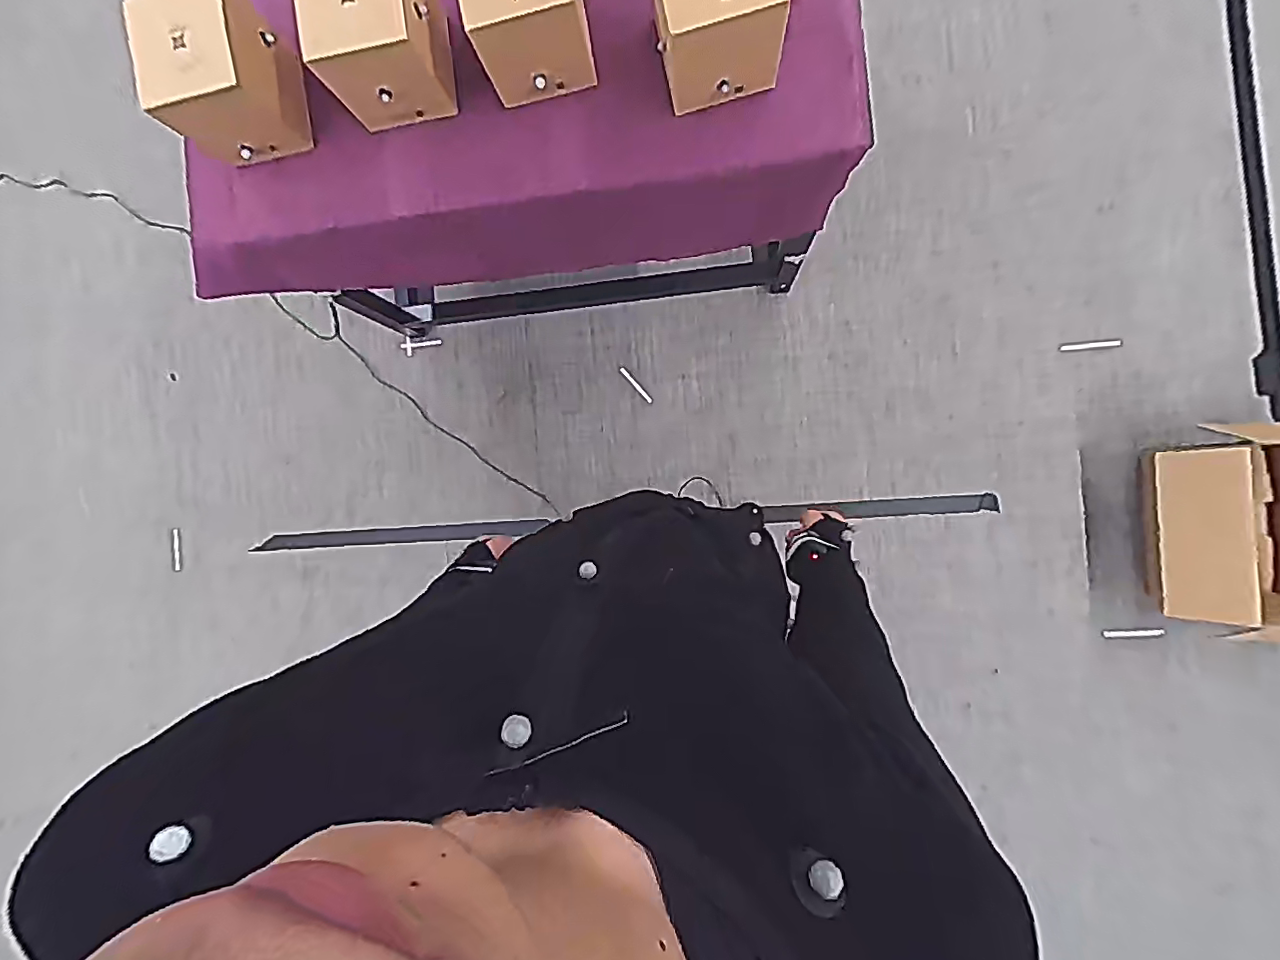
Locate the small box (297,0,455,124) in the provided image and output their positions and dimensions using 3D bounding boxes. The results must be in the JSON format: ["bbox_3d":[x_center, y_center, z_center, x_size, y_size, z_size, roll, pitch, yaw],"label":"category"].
[{"bbox_3d":[-0.413,-0.708,0.866,0.168,0.176,0.179,-7,89,6],"label":"small box"}]

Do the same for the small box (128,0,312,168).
[{"bbox_3d":[-0.682,-0.661,0.896,0.168,0.176,0.179,-9,89,7],"label":"small box"}]

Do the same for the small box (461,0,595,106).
[{"bbox_3d":[-0.174,-0.737,0.841,0.168,0.176,0.179,-10,90,6],"label":"small box"}]
